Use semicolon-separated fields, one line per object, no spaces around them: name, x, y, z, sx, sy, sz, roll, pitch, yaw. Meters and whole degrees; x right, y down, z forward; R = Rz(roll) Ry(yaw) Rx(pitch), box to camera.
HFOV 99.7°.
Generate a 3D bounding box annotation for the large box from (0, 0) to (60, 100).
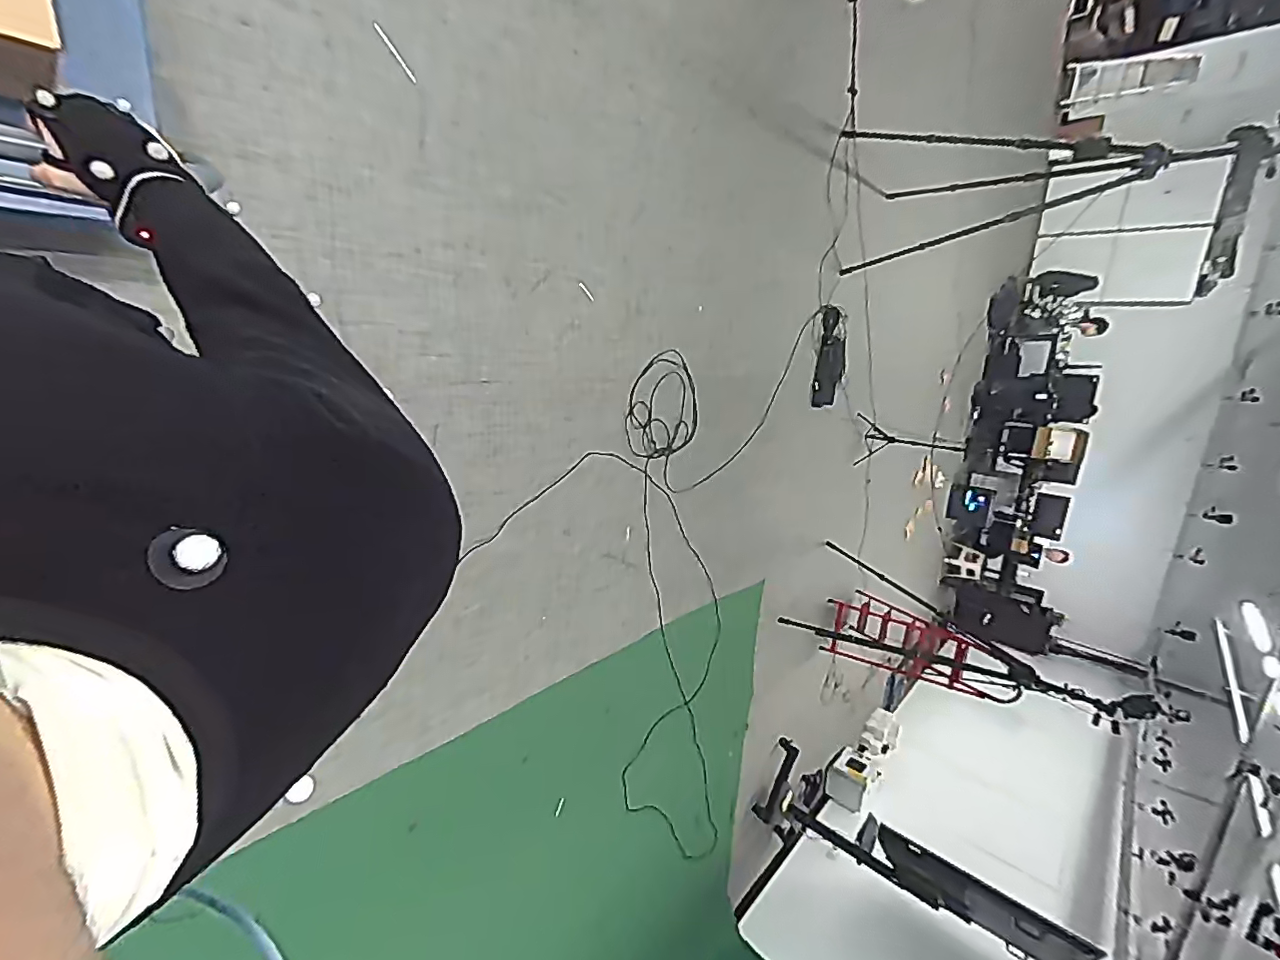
large box;-1.012;-0.787;0.685;0.320;0.320;0.408;-15;113;-45
